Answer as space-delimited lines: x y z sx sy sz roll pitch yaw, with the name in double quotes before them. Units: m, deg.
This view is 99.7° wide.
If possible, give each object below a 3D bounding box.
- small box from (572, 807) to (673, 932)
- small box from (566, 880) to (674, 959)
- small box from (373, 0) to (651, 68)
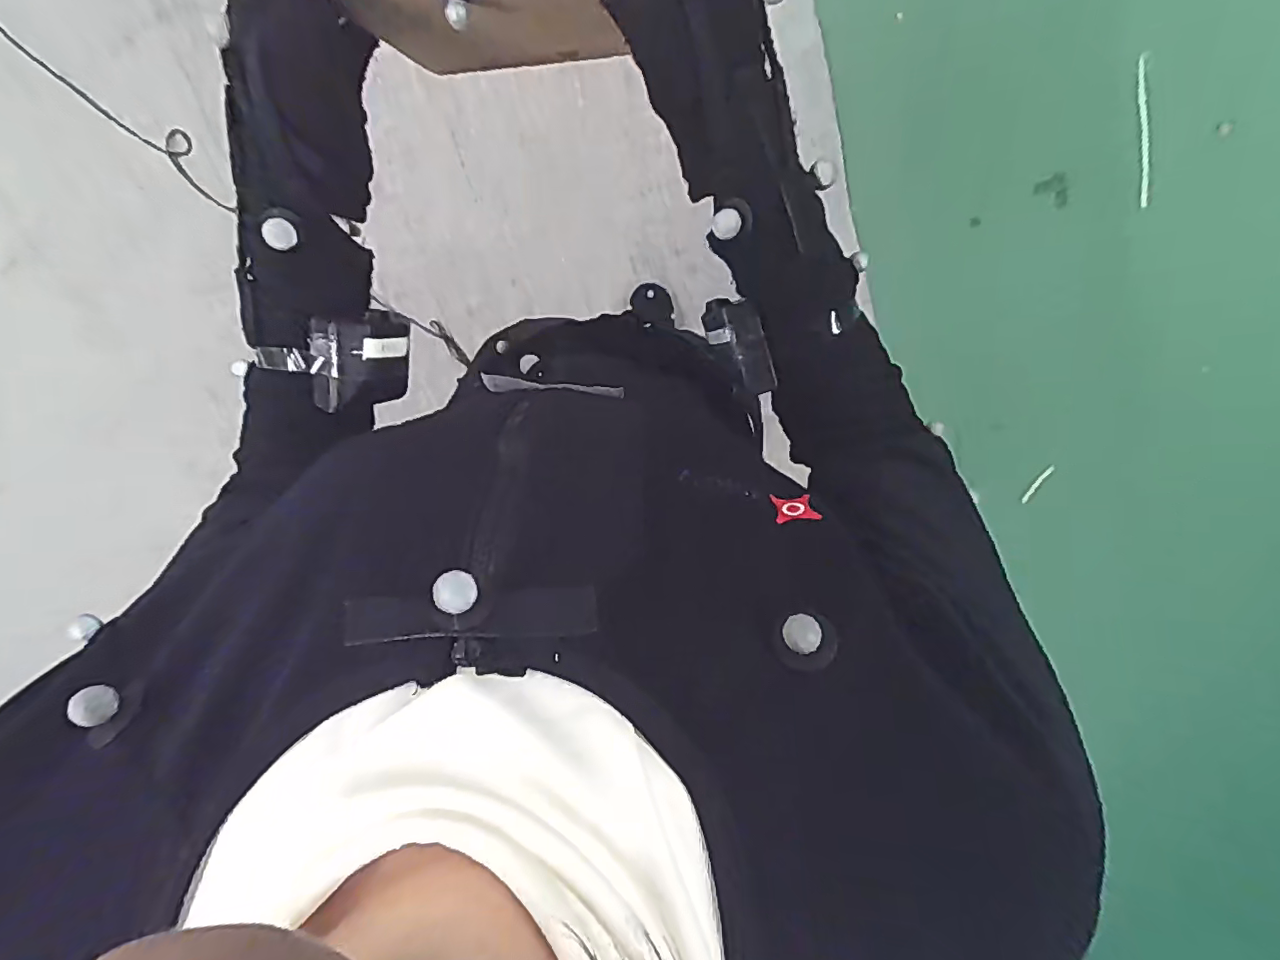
"small box" -0.035 0.873 1.192 0.168 0.176 0.179 -22 106 5
"small box" -0.033 0.924 1.036 0.168 0.176 0.179 -20 106 4
"small box" -0.081 -0.350 0.280 0.168 0.176 0.179 -4 114 3
